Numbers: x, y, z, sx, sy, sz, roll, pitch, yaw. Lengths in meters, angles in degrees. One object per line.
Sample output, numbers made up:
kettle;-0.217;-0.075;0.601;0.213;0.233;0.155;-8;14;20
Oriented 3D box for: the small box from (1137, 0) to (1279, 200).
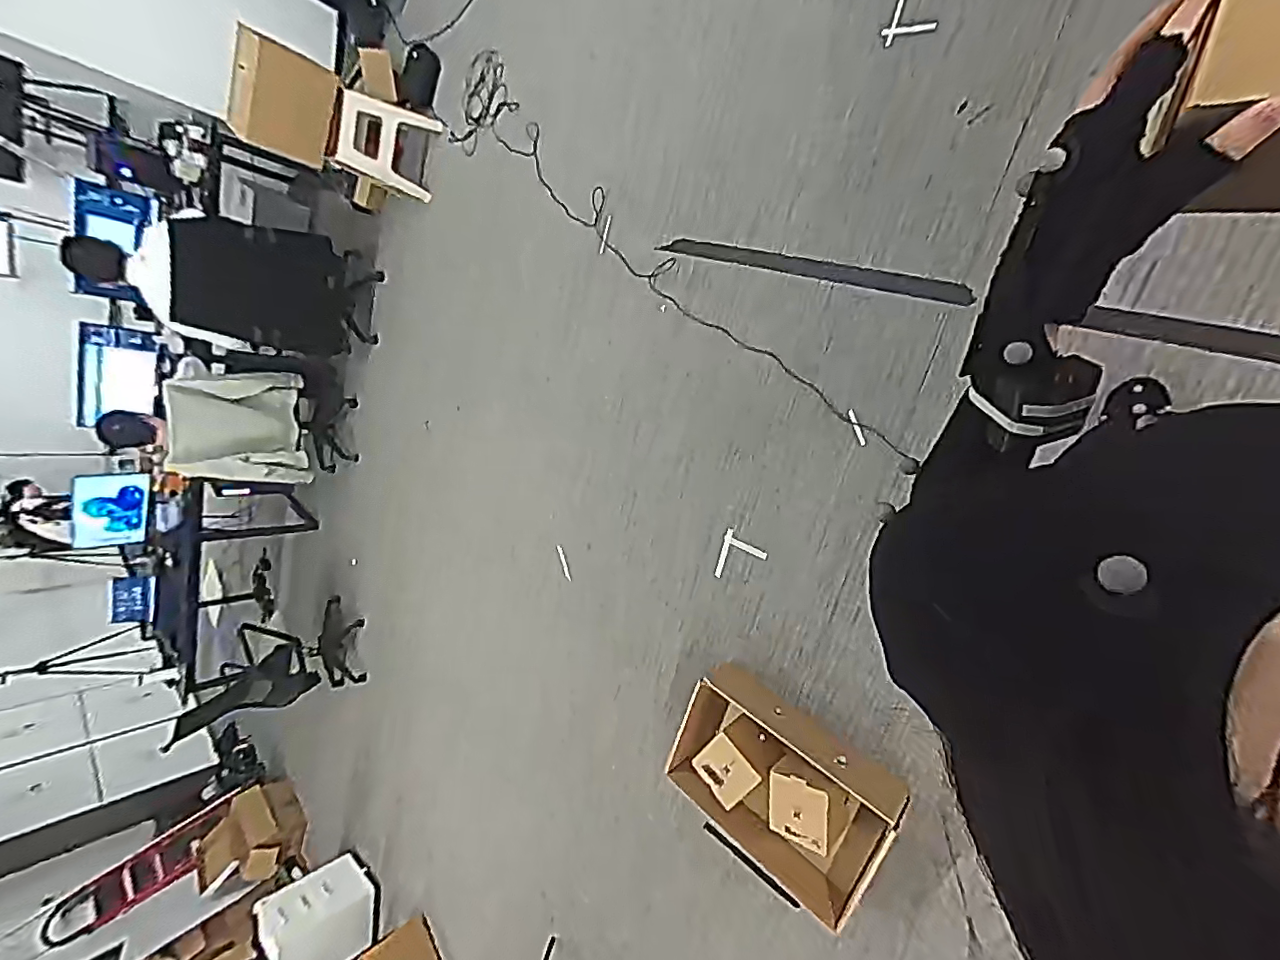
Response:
small box;0.384;-0.248;0.254;0.179;0.176;0.168;16;103;33
